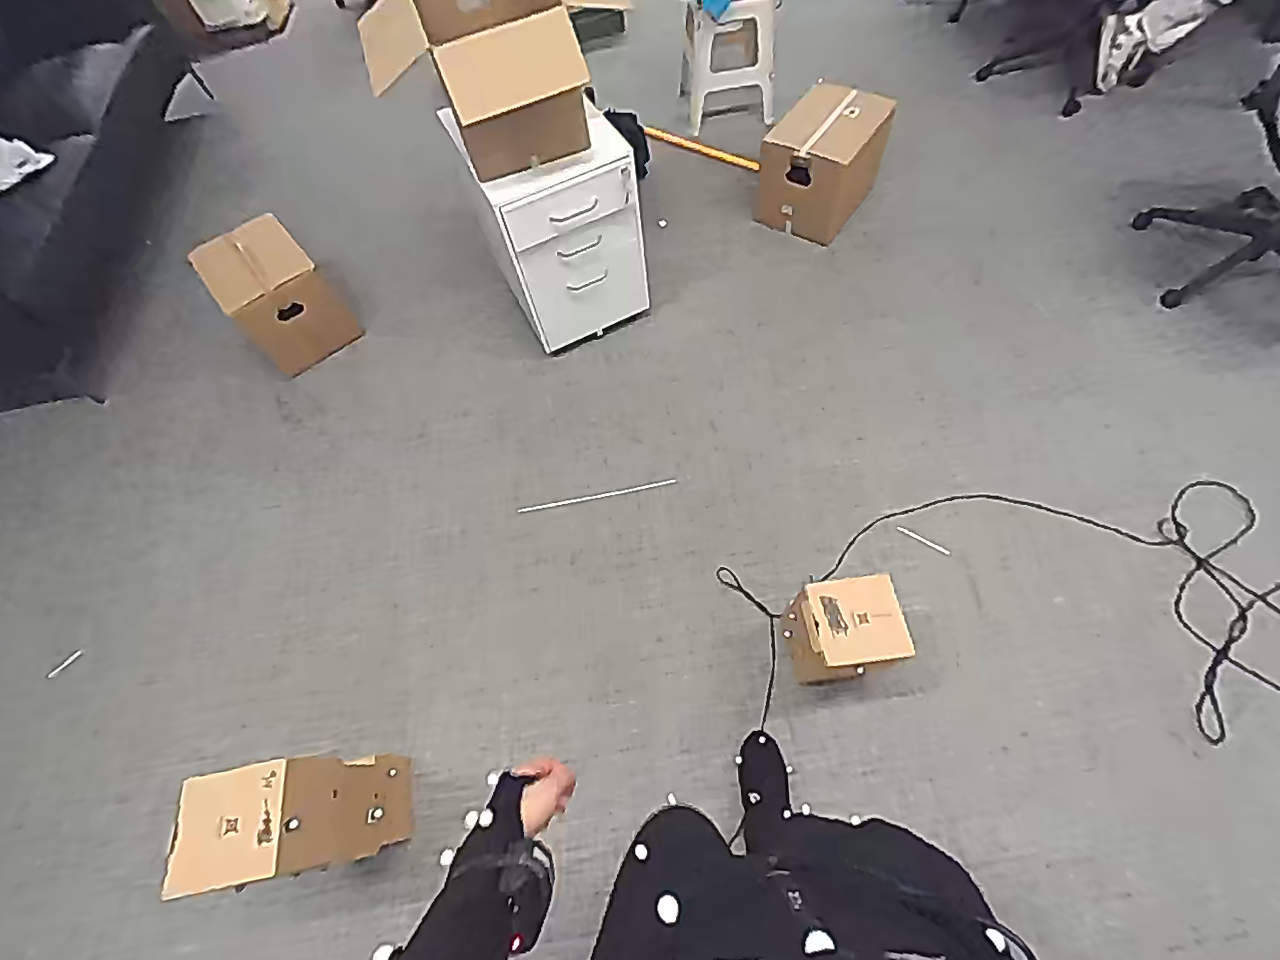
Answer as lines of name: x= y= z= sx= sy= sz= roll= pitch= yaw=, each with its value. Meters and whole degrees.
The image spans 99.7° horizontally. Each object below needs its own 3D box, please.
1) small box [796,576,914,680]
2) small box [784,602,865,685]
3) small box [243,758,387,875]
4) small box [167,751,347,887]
small box: x=0.435 y=0.315 z=1.133 sx=0.179 sy=0.176 sz=0.168 roll=-7 pitch=62 yaw=0
small box: x=0.447 y=0.383 z=1.282 sx=0.179 sy=0.176 sz=0.168 roll=-8 pitch=61 yaw=1
small box: x=-0.633 y=0.660 z=1.072 sx=0.179 sy=0.176 sz=0.168 roll=-11 pitch=62 yaw=-1
small box: x=-0.644 y=0.575 z=0.932 sx=0.179 sy=0.176 sz=0.168 roll=-12 pitch=62 yaw=1
